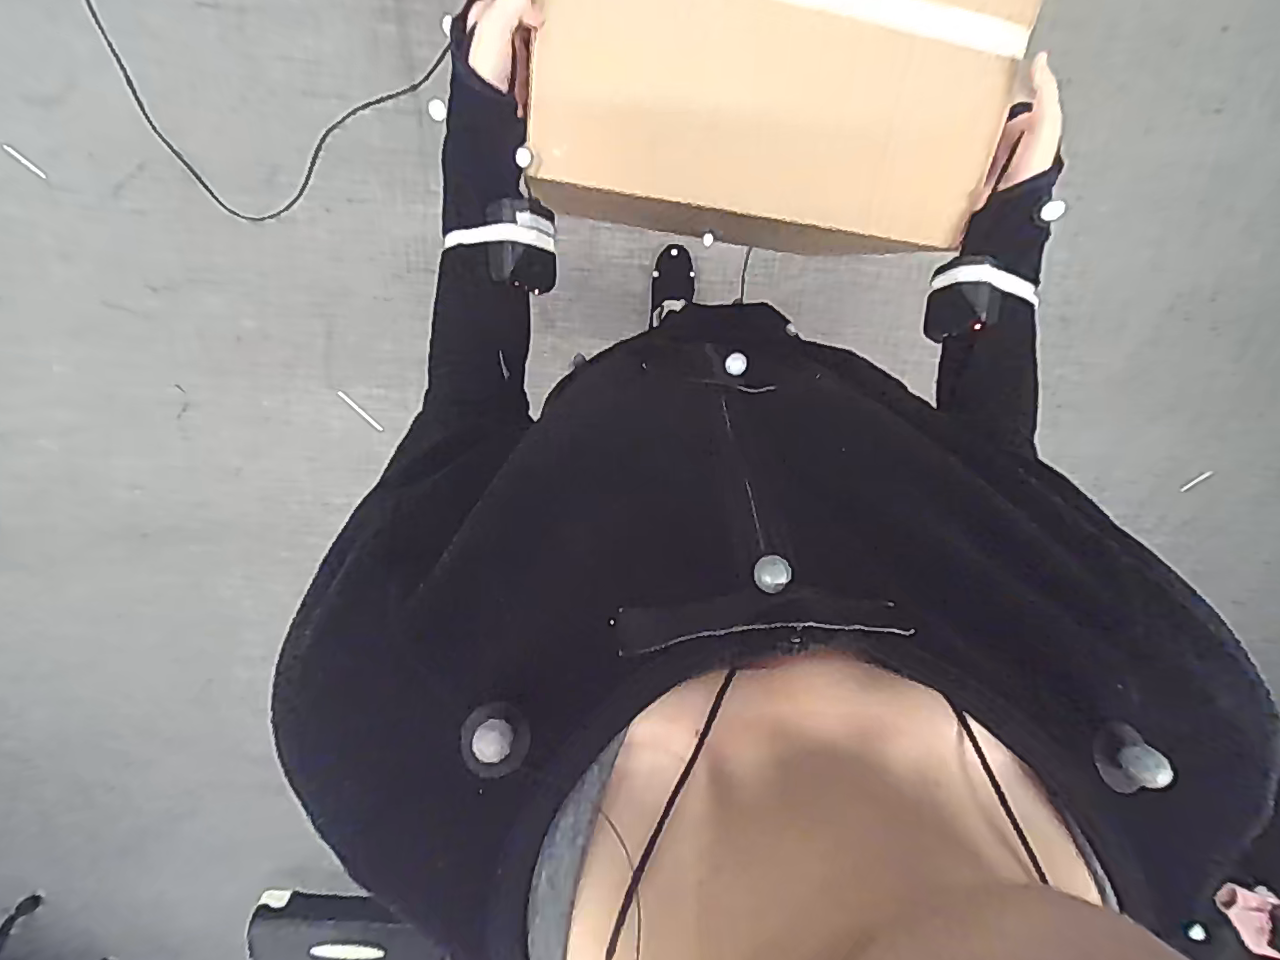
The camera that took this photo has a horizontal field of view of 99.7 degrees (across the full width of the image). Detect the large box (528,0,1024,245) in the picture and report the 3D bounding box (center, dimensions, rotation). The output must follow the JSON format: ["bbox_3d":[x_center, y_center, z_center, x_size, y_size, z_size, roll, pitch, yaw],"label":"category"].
[{"bbox_3d":[0.101,-0.437,0.566,0.408,0.320,0.320,4,110,-10],"label":"large box"}]
